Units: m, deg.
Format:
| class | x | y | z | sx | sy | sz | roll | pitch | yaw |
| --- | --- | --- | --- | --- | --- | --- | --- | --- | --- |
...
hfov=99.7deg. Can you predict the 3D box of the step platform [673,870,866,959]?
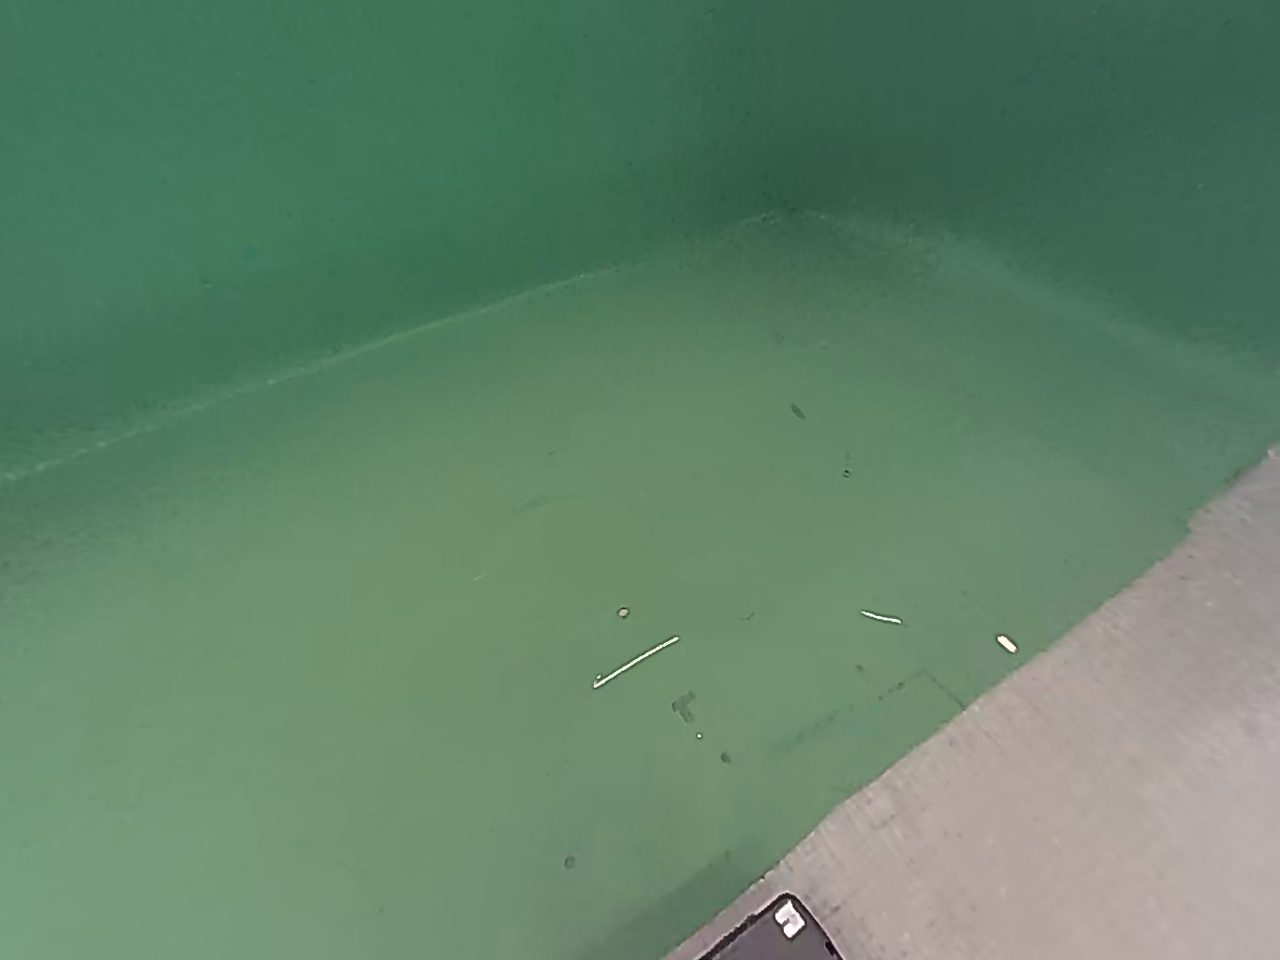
| class | x | y | z | sx | sy | sz | roll | pitch | yaw |
| --- | --- | --- | --- | --- | --- | --- | --- | --- | --- |
| step platform | 0.097 | 1.025 | 0.940 | 0.684 | 0.204 | 0.286 | -27 | 52 | -17 |
